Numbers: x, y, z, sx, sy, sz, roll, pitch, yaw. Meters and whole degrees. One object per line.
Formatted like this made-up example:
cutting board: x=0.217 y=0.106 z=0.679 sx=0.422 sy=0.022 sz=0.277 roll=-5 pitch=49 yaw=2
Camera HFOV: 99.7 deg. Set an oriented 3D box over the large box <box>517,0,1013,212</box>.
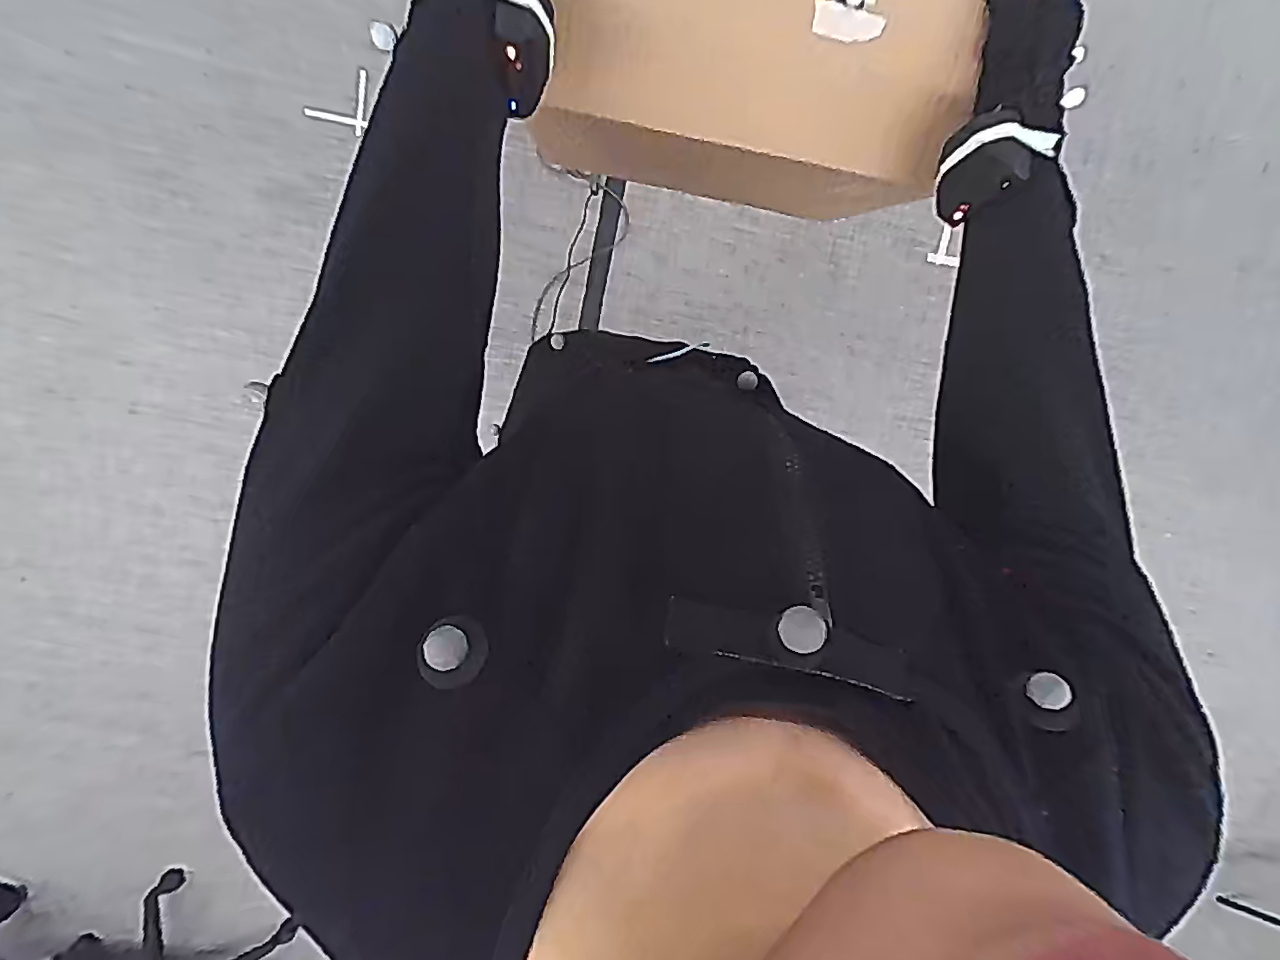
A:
large box: x=0.107 y=-0.493 z=0.557 sx=0.408 sy=0.320 sz=0.320 roll=9 pitch=112 yaw=-6
